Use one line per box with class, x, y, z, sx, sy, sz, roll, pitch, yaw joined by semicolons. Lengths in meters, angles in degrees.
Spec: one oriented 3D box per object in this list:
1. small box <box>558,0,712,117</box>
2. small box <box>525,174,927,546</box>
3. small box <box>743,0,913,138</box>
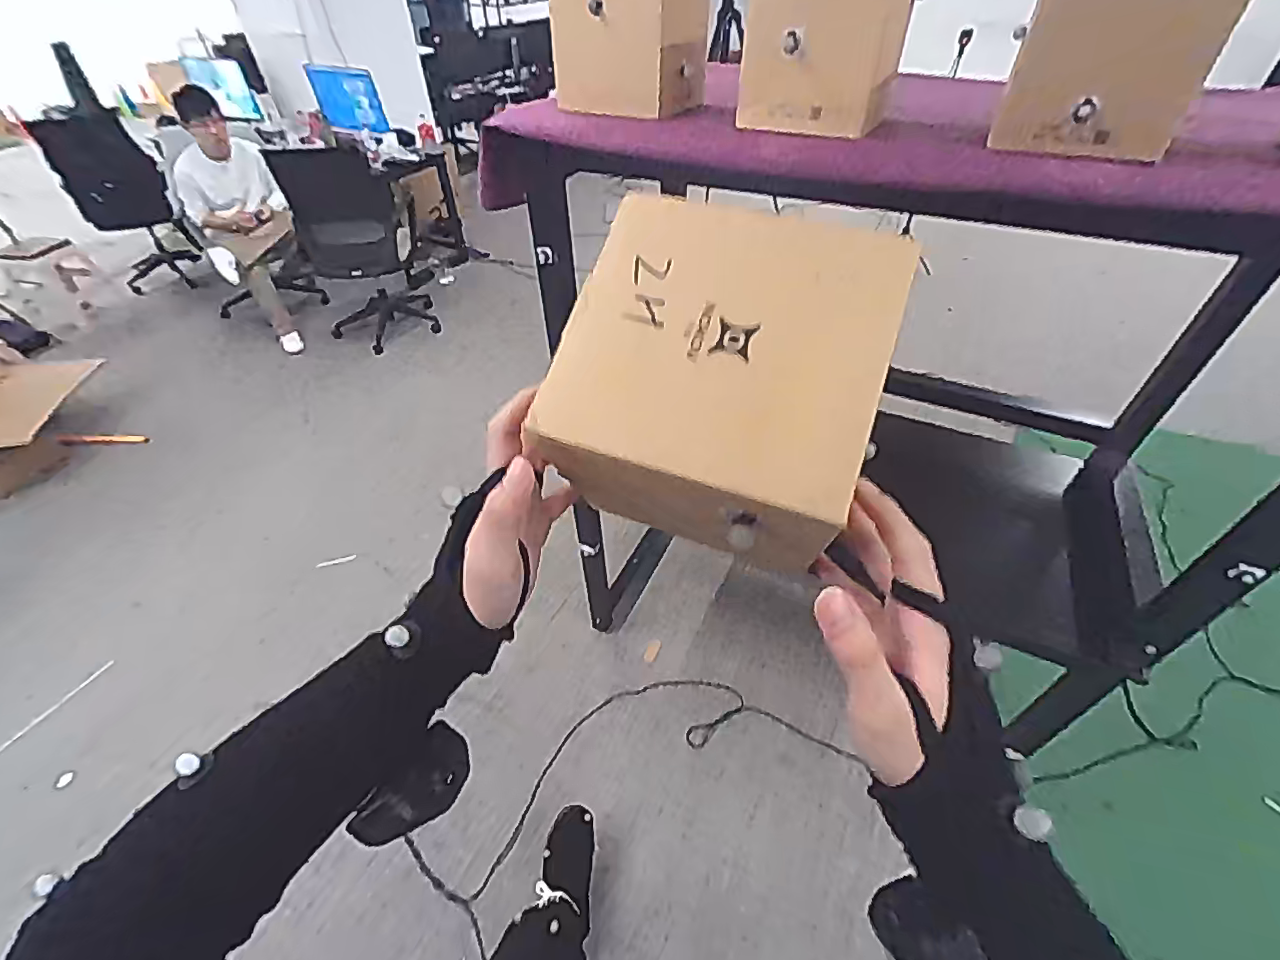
small box;-0.009;-0.644;0.789;0.179;0.176;0.168;20;47;20
small box;0.058;-0.063;0.364;0.179;0.176;0.168;17;76;15
small box;0.239;-0.551;0.689;0.168;0.176;0.179;20;46;21
